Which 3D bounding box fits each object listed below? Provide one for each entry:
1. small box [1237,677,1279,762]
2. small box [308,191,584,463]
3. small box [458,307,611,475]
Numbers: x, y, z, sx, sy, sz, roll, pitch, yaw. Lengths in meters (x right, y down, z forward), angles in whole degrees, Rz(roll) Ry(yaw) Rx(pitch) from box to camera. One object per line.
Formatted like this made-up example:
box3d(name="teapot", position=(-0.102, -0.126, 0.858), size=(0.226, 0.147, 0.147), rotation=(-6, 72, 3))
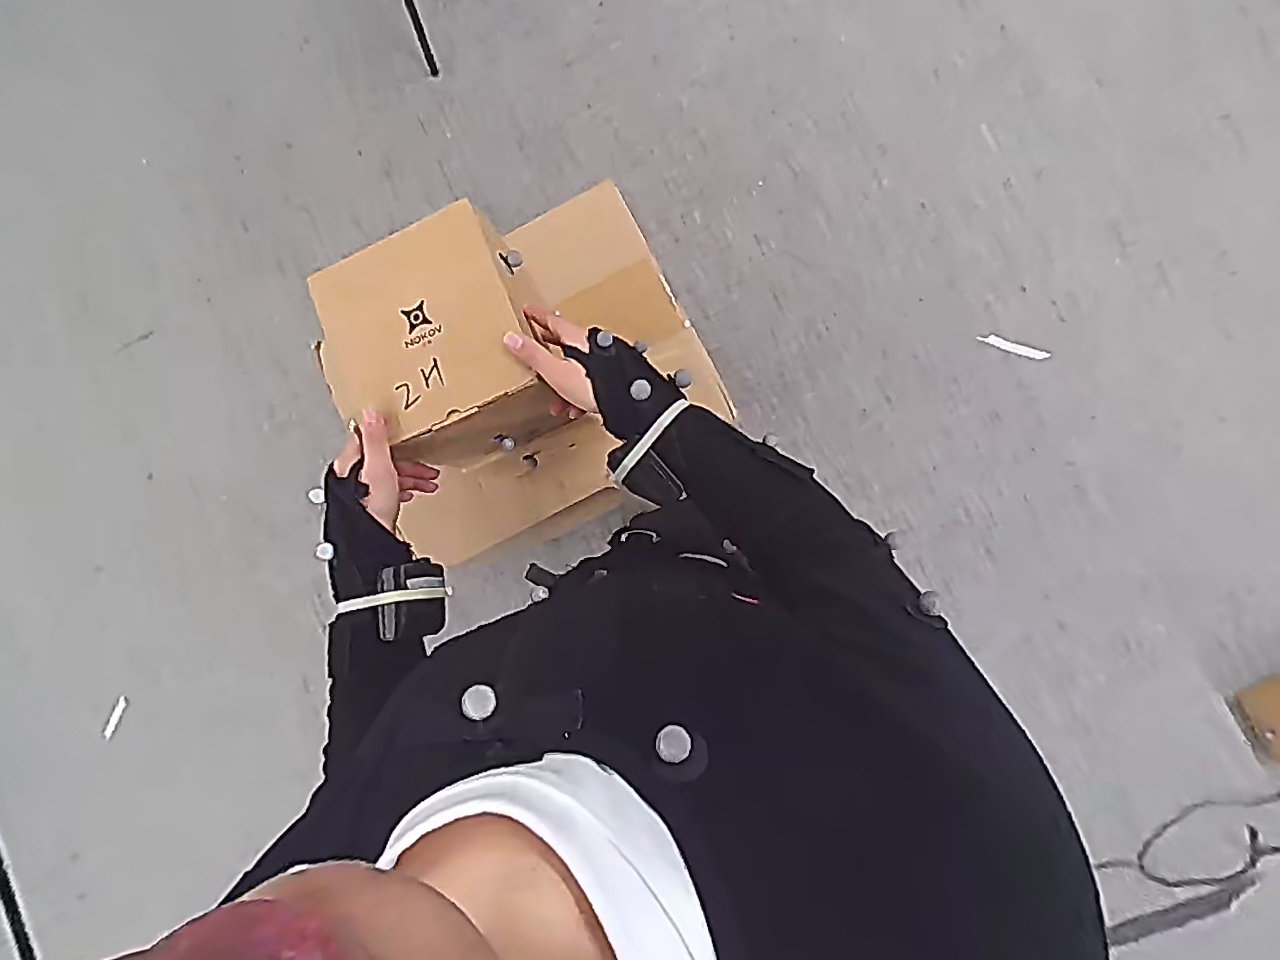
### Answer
box3d(name="small box", position=(1.437, 0.512, 1.124), size=(0.179, 0.176, 0.168), rotation=(-26, 85, 6))
box3d(name="small box", position=(-0.172, -0.130, 0.530), size=(0.168, 0.176, 0.179), rotation=(-23, 84, 6))
box3d(name="small box", position=(-0.152, -0.116, 0.695), size=(0.168, 0.176, 0.179), rotation=(-25, 85, 5))
